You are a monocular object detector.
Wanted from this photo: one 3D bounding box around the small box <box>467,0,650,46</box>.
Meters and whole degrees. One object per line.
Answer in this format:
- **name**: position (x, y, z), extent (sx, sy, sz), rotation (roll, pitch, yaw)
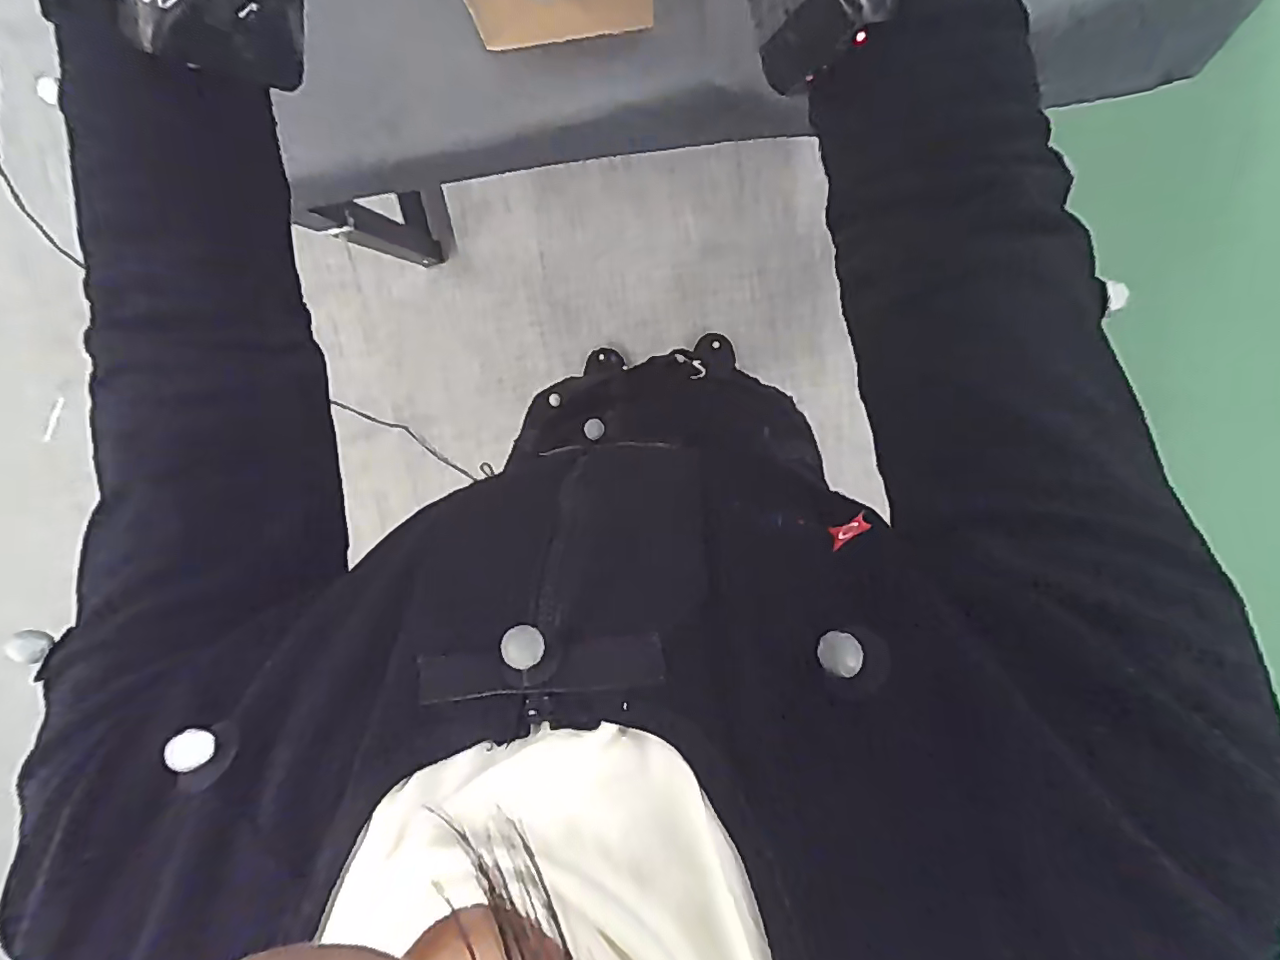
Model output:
- **small box**: position (-0.085, -0.522, 0.473), extent (0.179, 0.176, 0.168), rotation (-7, 103, 2)
